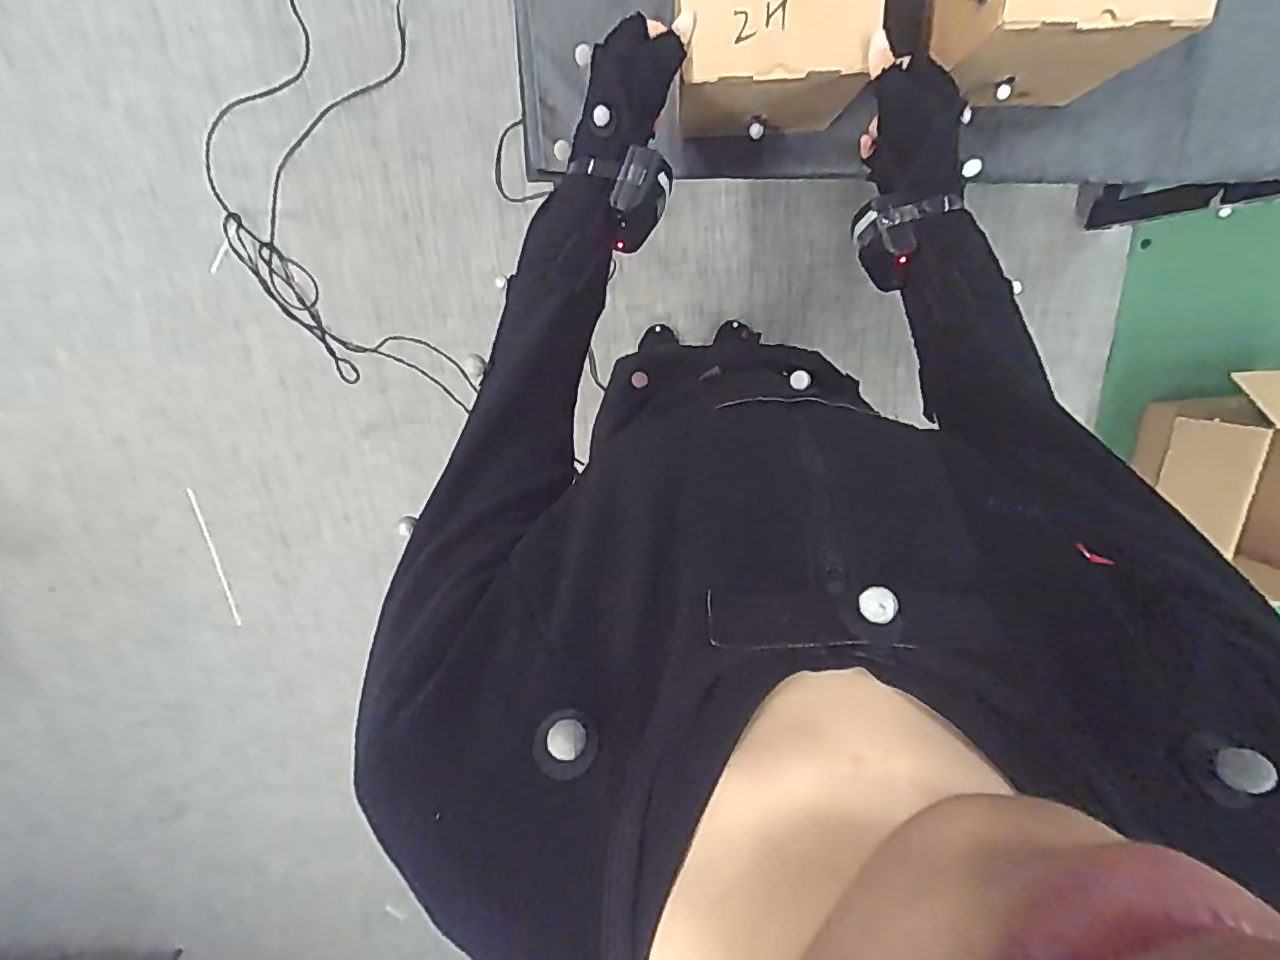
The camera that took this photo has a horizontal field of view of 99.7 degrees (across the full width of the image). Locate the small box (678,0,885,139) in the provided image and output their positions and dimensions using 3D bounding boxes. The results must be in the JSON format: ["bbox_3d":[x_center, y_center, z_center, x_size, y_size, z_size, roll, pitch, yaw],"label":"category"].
[{"bbox_3d":[0.120,-0.448,0.509,0.168,0.176,0.179,-1,108,4],"label":"small box"}]
